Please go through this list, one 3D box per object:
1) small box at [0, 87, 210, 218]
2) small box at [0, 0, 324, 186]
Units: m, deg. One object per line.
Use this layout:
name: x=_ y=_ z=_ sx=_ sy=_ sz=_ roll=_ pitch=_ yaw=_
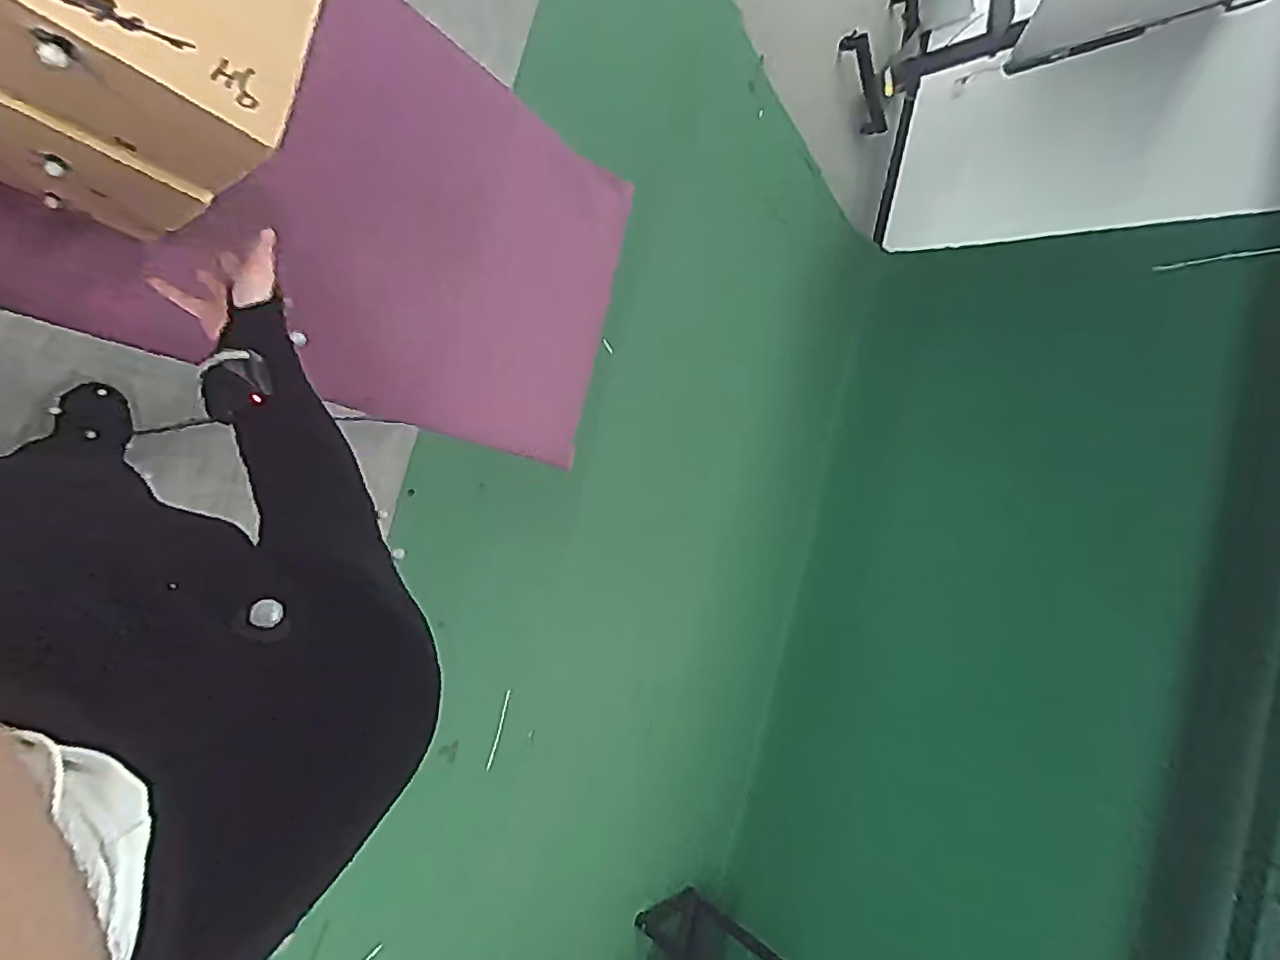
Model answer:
small box: x=-0.450 y=-0.348 z=0.450 sx=0.168 sy=0.176 sz=0.179 roll=20 pitch=84 yaw=-50
small box: x=-0.324 y=-0.328 z=0.346 sx=0.168 sy=0.176 sz=0.179 roll=17 pitch=86 yaw=-49
